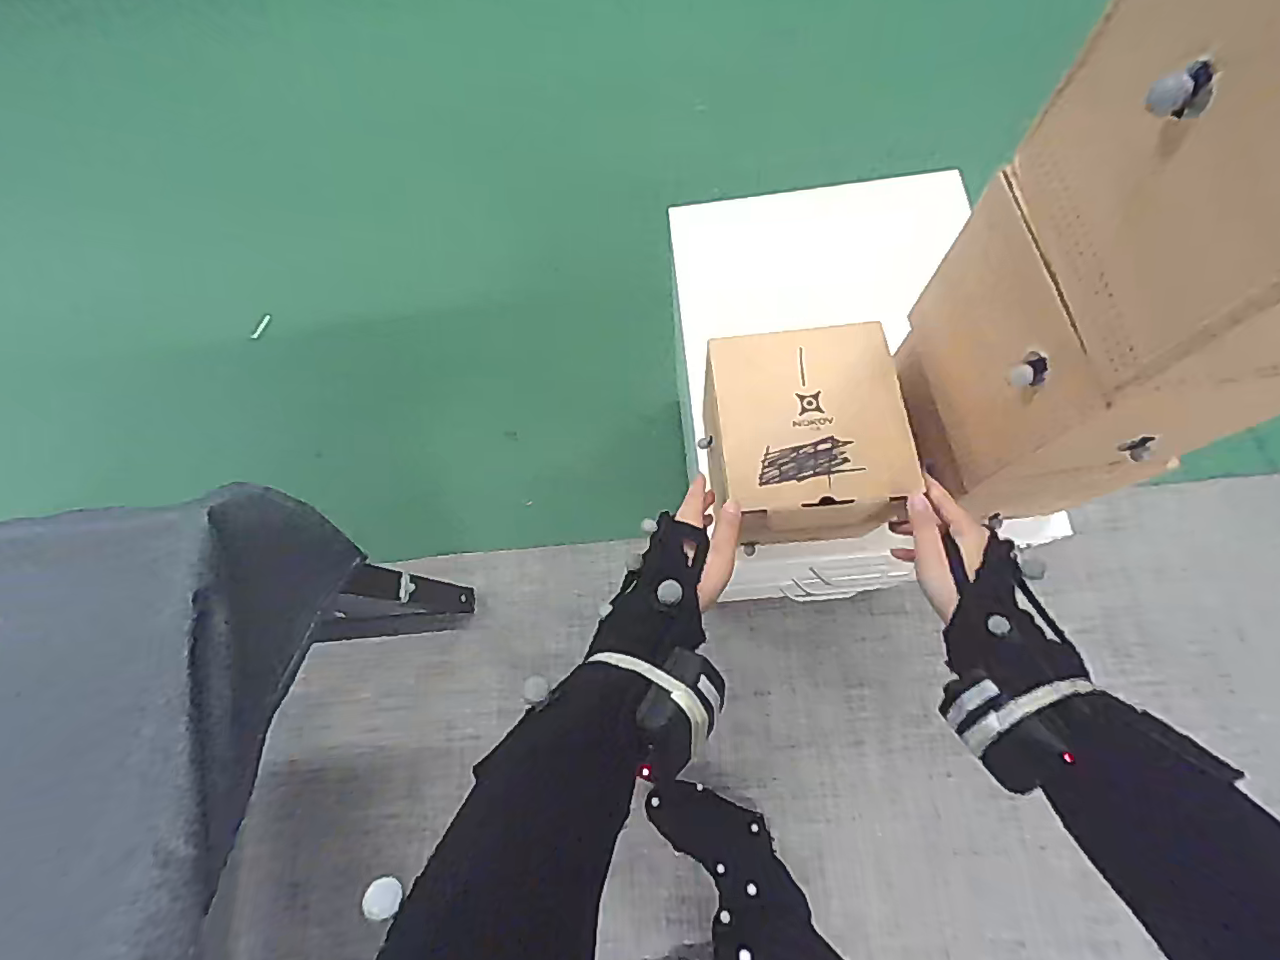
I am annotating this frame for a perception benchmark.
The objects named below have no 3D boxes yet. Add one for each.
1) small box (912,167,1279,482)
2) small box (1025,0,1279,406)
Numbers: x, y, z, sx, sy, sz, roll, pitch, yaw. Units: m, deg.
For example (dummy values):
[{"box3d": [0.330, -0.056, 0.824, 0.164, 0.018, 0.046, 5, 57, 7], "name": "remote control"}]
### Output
[{"box3d": [0.330, -0.105, 0.393, 0.168, 0.176, 0.179, -9, 72, 2], "name": "small box"}, {"box3d": [0.316, -0.153, 0.237, 0.168, 0.176, 0.179, -7, 71, 3], "name": "small box"}]
